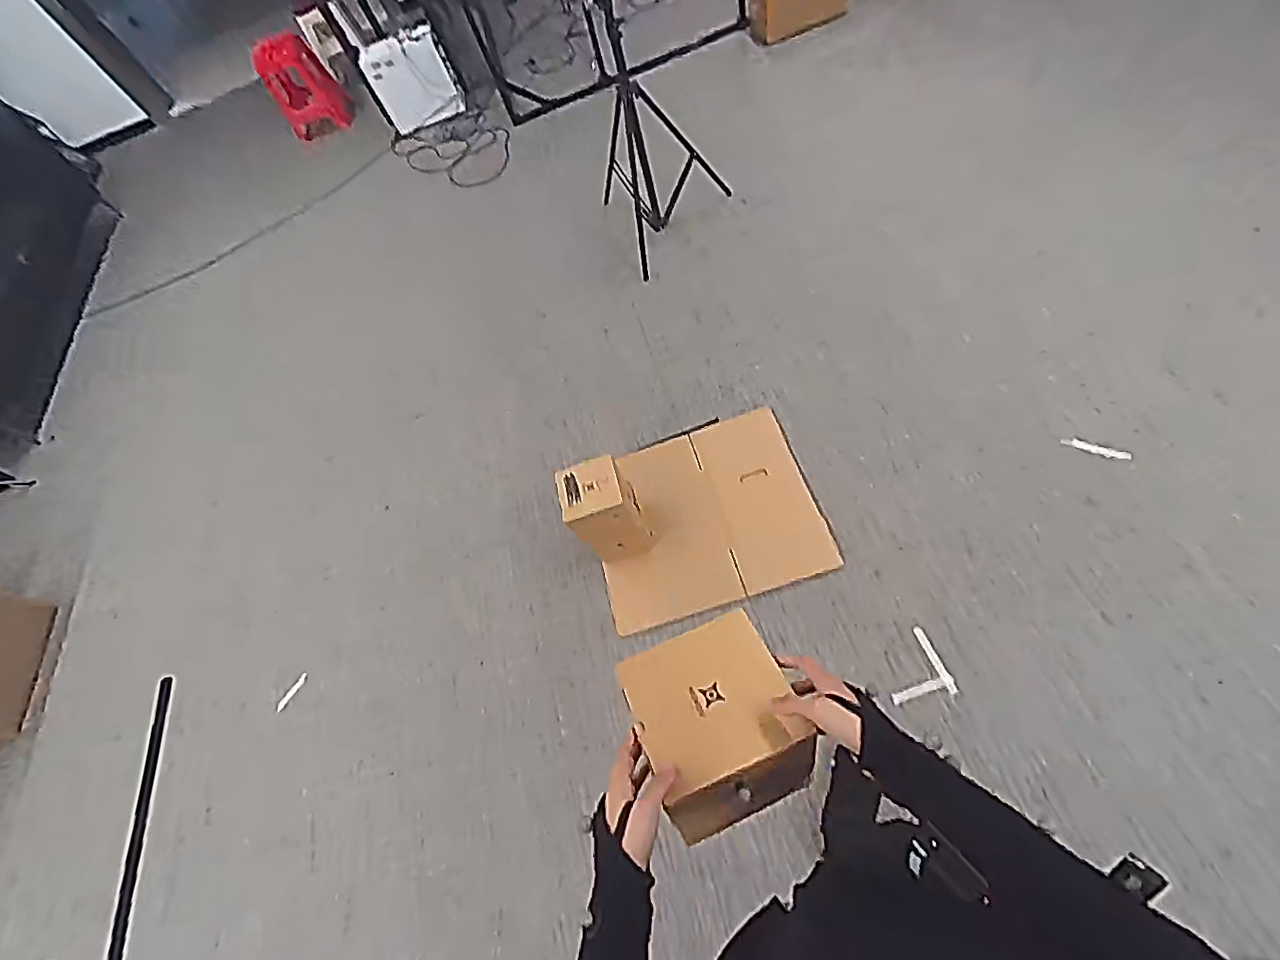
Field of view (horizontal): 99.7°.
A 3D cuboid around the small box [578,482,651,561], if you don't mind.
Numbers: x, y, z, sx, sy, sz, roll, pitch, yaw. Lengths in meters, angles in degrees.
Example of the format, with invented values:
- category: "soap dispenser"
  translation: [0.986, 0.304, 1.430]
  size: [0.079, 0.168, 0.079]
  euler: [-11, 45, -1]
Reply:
- category: "small box"
  translation: [-0.074, 0.135, 1.701]
  size: [0.179, 0.176, 0.168]
  euler: [-20, 59, 6]

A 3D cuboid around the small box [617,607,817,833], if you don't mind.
- category: "small box"
  translation: [0.092, 0.292, 0.658]
  size: [0.179, 0.176, 0.168]
  euler: [-23, 44, -7]
